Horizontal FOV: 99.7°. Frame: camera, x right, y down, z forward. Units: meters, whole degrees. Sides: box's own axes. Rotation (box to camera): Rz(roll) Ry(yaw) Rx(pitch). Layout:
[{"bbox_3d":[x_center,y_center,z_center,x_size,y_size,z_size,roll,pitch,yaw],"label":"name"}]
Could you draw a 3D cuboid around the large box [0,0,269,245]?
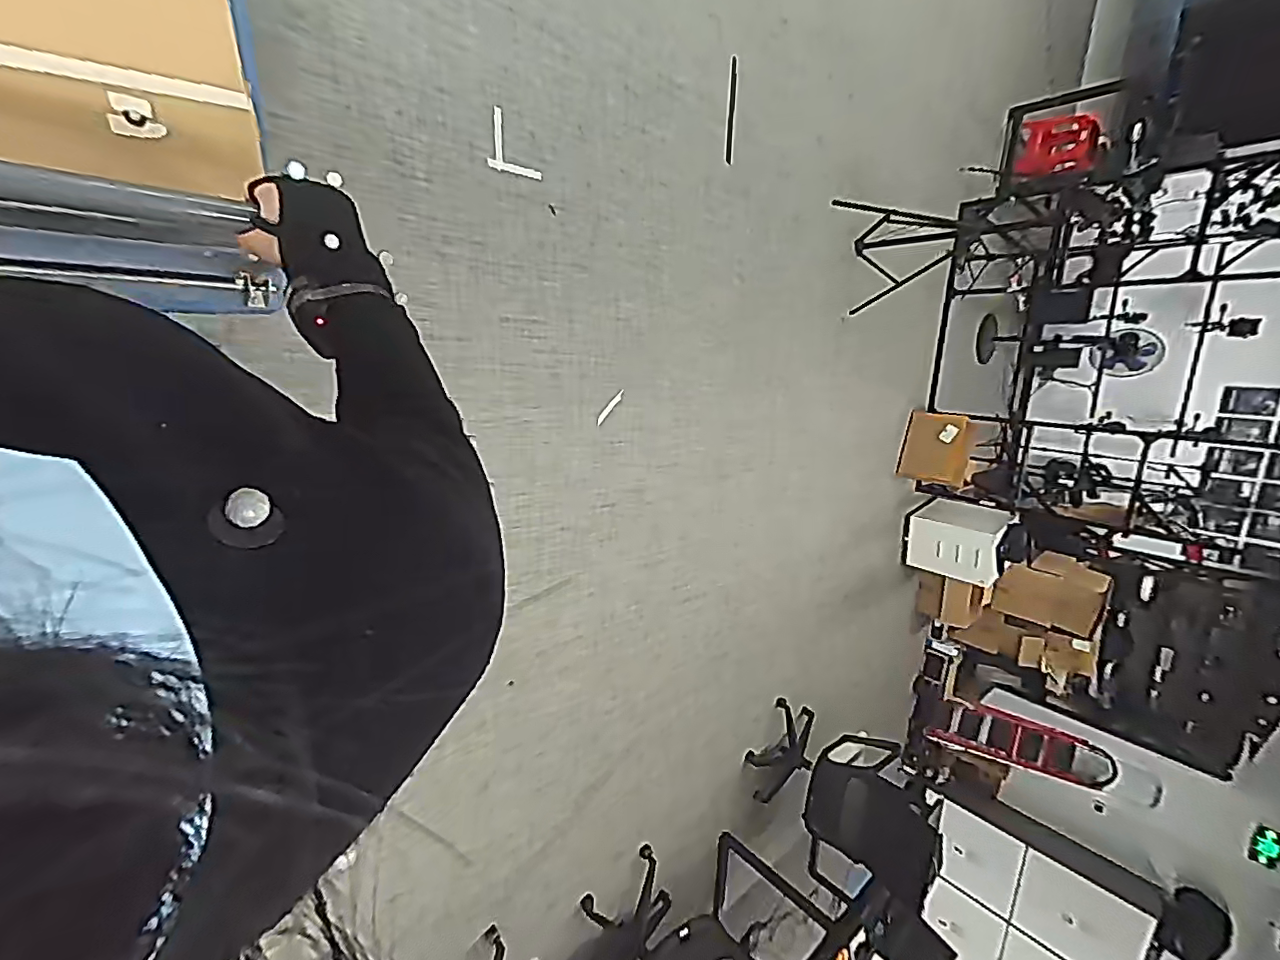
[{"bbox_3d":[-0.826,-0.529,0.768,0.408,0.320,0.320,-17,112,-42],"label":"large box"}]
